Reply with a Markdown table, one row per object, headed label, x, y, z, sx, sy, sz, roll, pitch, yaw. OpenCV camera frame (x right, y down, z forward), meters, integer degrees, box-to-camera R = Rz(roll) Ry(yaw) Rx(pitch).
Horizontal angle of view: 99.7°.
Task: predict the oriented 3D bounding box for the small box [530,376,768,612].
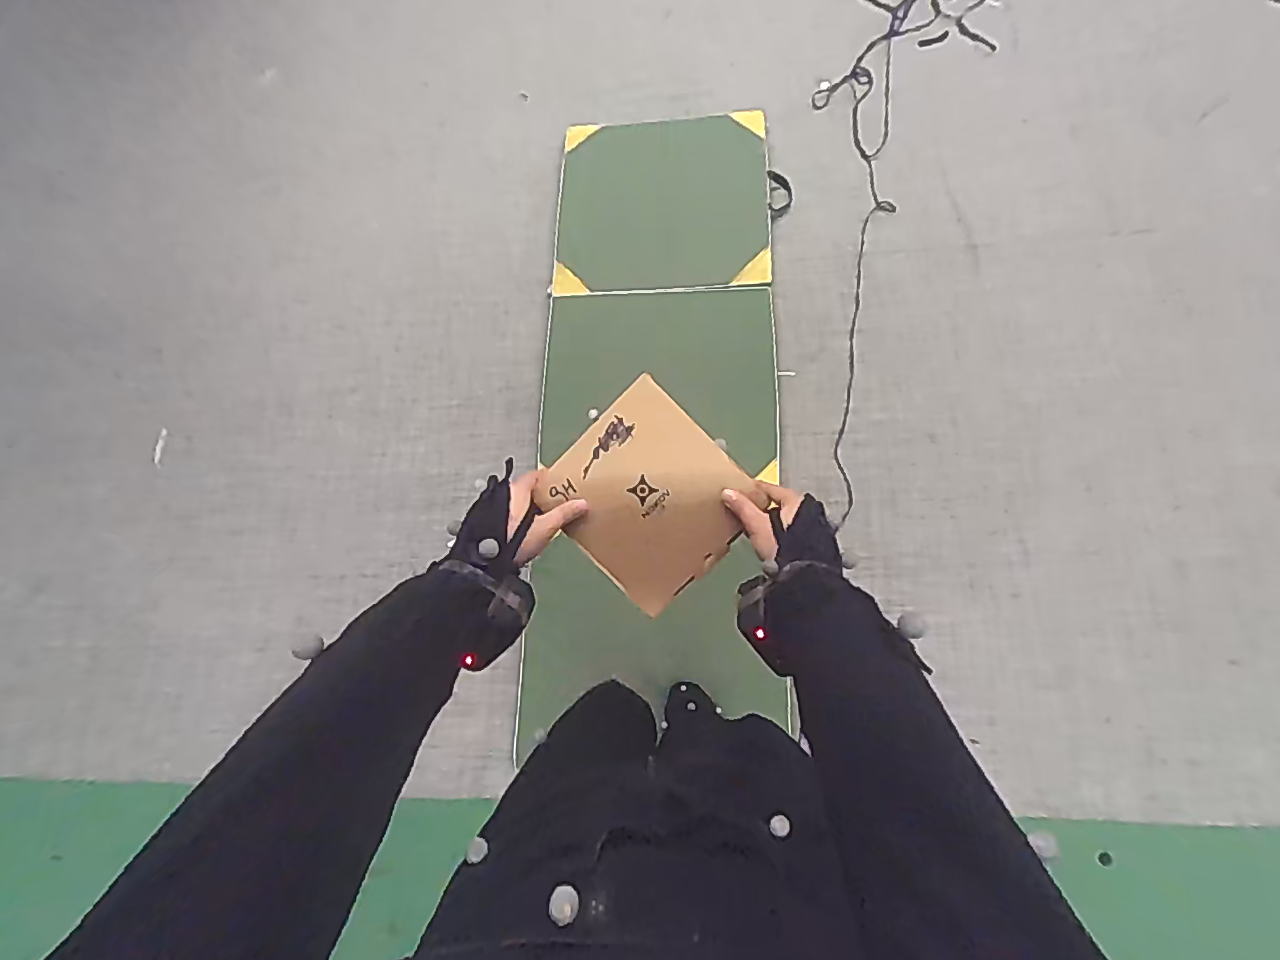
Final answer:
| label | x | y | z | sx | sy | sz | roll | pitch | yaw |
| --- | --- | --- | --- | --- | --- | --- | --- | --- | --- |
| small box | 0.012 | 0.009 | 0.601 | 0.168 | 0.176 | 0.179 | -45 | 91 | 4 |
